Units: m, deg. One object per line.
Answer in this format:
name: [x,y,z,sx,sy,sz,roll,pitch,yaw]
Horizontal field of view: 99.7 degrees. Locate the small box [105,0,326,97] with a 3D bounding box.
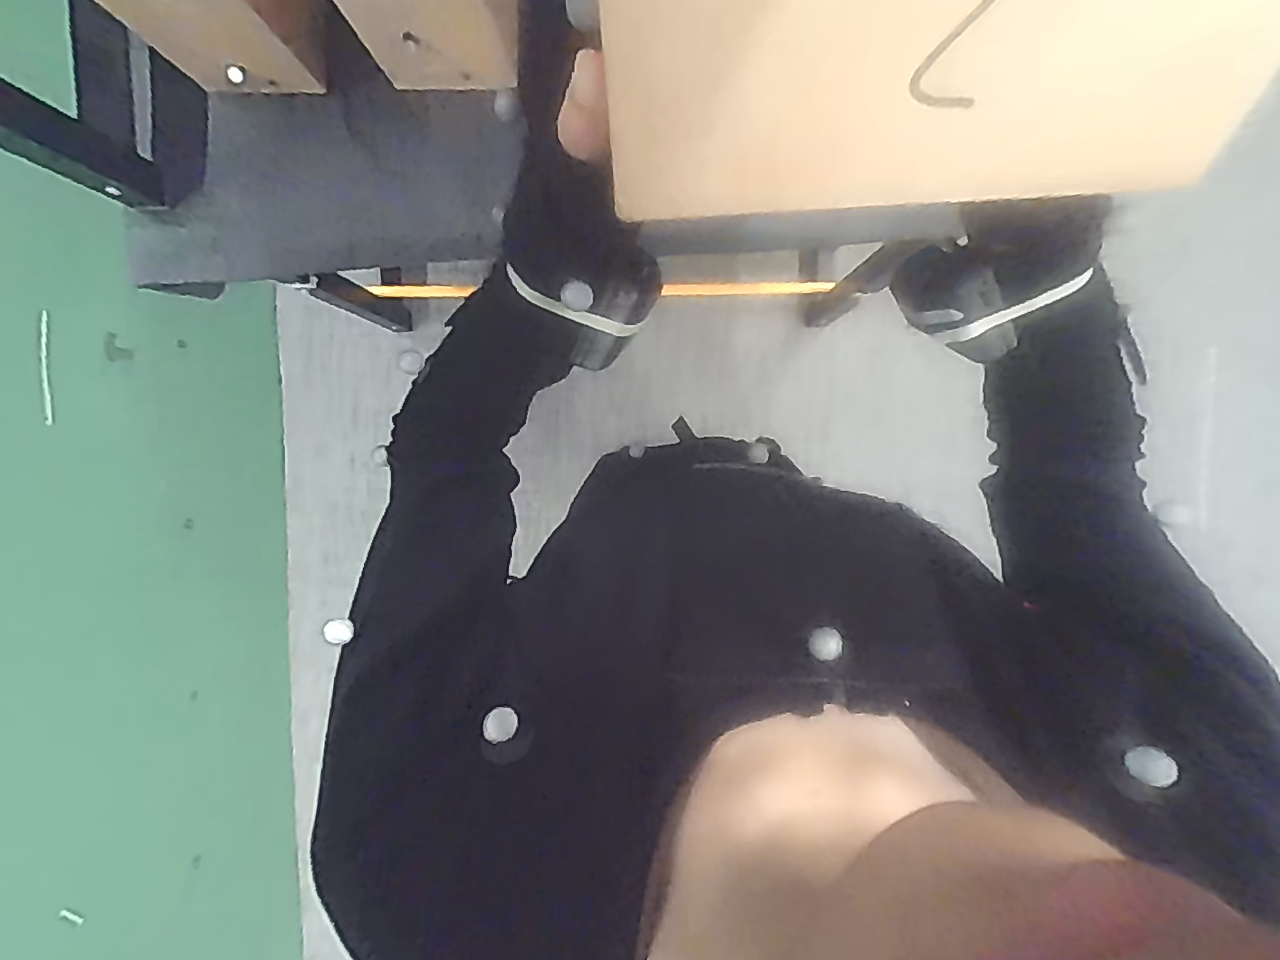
small box: [-0.501,-0.601,0.643,0.168,0.176,0.179,1,94,1]

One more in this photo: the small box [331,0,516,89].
small box: [-0.248,-0.602,0.642,0.168,0.176,0.179,0,93,1]
